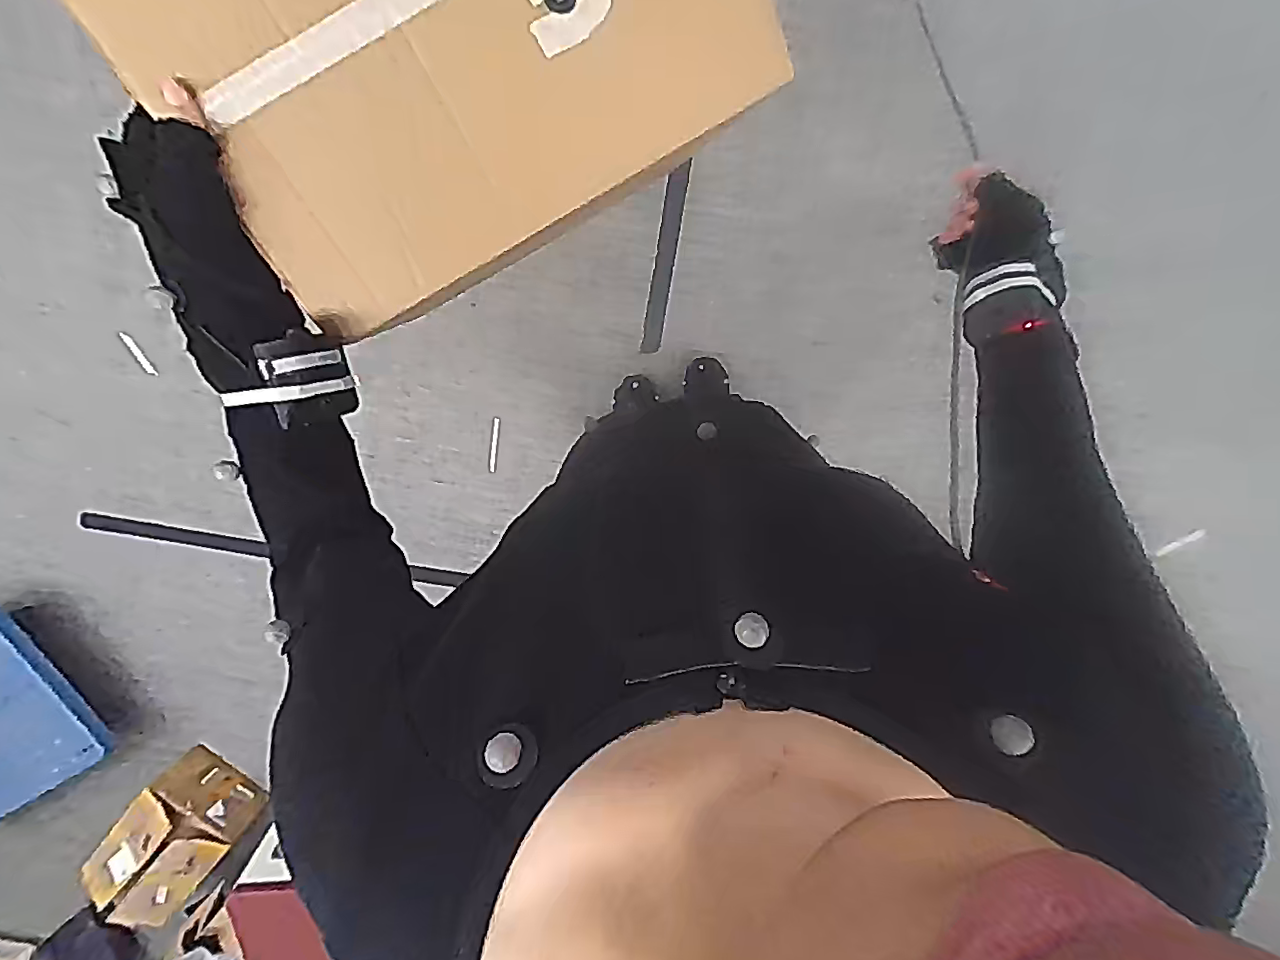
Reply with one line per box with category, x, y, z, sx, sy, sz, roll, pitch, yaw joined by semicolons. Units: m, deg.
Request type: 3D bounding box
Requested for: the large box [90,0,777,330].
large box;-0.161;-0.382;0.500;0.408;0.320;0.320;-31;113;0
